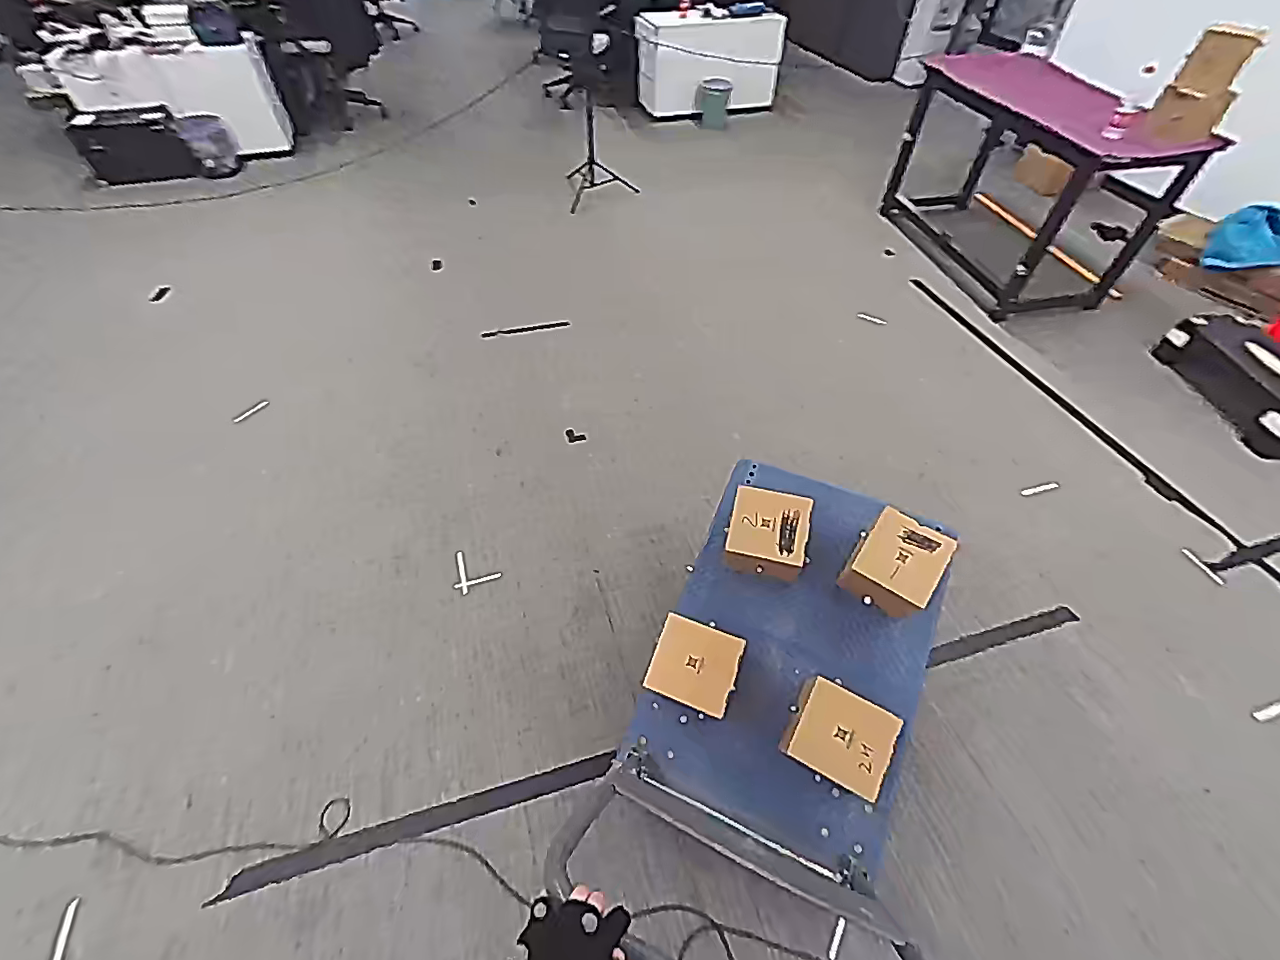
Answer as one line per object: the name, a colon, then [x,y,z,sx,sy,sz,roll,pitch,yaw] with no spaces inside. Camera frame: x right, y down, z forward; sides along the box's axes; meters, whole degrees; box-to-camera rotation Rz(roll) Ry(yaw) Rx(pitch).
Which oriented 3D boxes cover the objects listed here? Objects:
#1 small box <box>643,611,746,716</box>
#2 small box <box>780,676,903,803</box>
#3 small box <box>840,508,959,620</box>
small box: [0.122,0.414,1.207,0.179,0.176,0.168,19,70,13]
small box: [0.405,0.531,1.119,0.179,0.176,0.168,26,73,17]
small box: [0.584,0.198,1.242,0.168,0.176,0.179,32,75,19]
